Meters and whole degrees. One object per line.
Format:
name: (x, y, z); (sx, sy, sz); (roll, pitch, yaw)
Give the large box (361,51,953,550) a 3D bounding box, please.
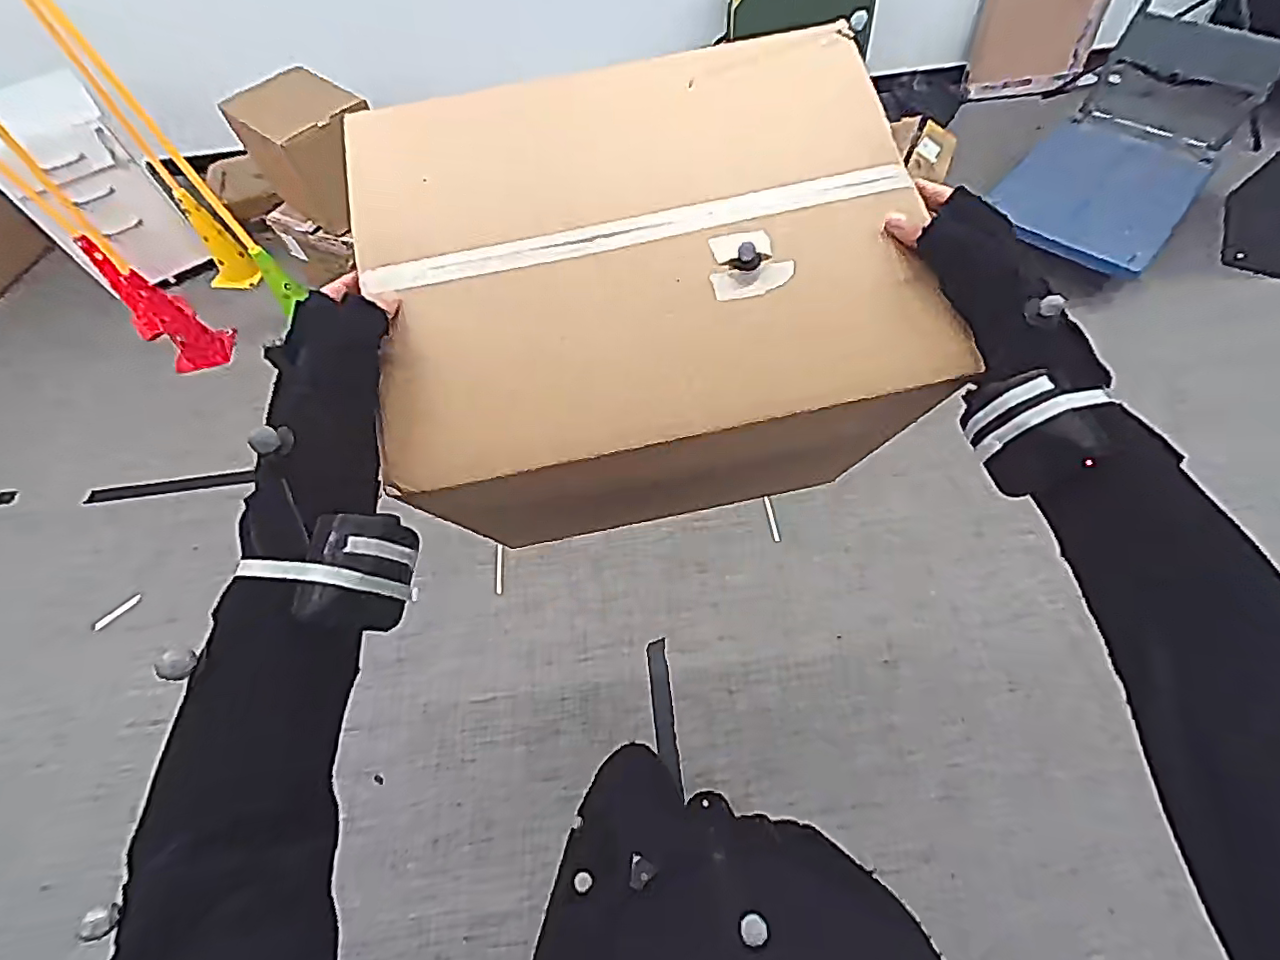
large box: (-0.001, -0.137, 0.554); (0.408, 0.320, 0.320); (-12, 76, -2)
